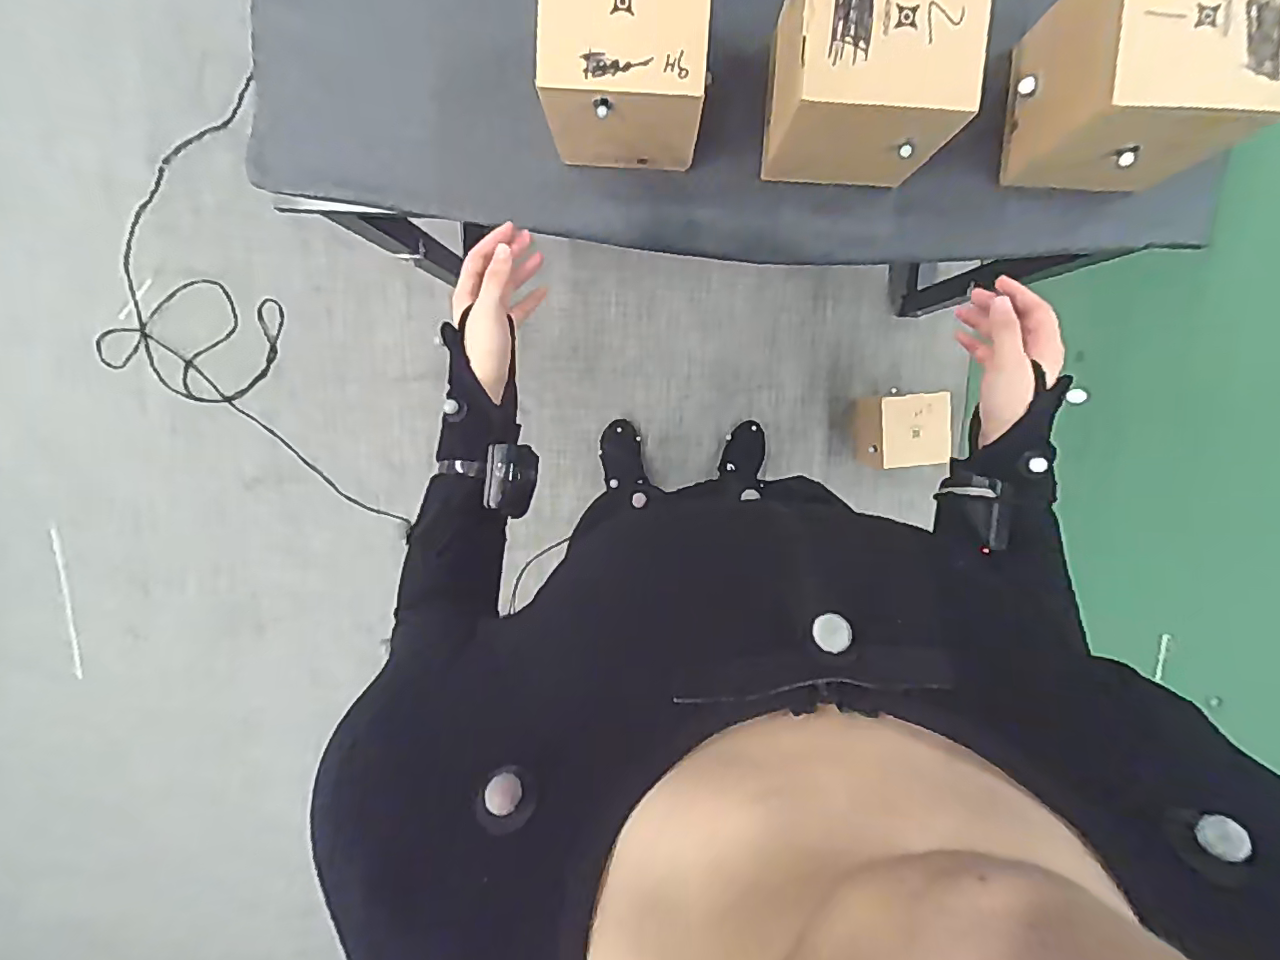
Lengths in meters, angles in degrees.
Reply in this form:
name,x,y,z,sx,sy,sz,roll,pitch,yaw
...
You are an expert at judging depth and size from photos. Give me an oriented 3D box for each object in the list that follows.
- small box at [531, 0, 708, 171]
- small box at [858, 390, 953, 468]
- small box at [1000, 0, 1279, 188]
name,x,y,z,sx,sy,sz,roll,pitch,yaw
small box,-0.016,-0.470,0.587,0.168,0.176,0.179,4,97,1
small box,0.663,-0.133,1.366,0.168,0.176,0.179,-5,99,1
small box,0.532,-0.434,0.578,0.179,0.176,0.168,4,95,2
